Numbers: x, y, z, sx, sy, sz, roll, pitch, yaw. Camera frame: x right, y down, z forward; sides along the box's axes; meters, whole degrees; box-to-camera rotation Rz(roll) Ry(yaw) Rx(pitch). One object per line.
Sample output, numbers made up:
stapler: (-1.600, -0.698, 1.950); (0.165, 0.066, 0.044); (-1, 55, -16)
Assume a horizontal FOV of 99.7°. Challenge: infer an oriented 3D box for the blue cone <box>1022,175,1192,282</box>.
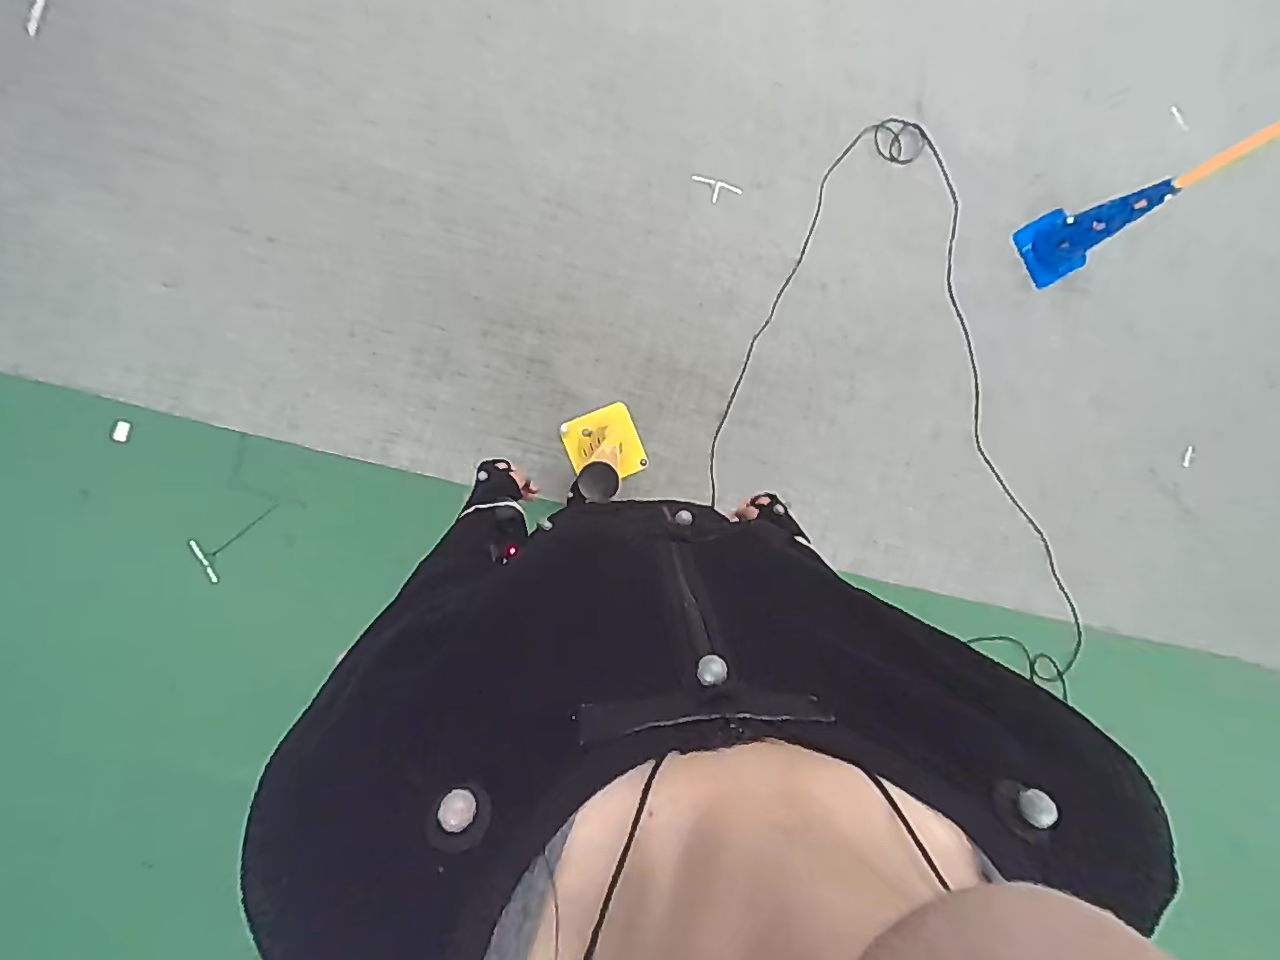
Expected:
blue cone: (1.300, -0.732, 1.501); (0.193, 0.380, 0.192); (-31, 93, -8)
